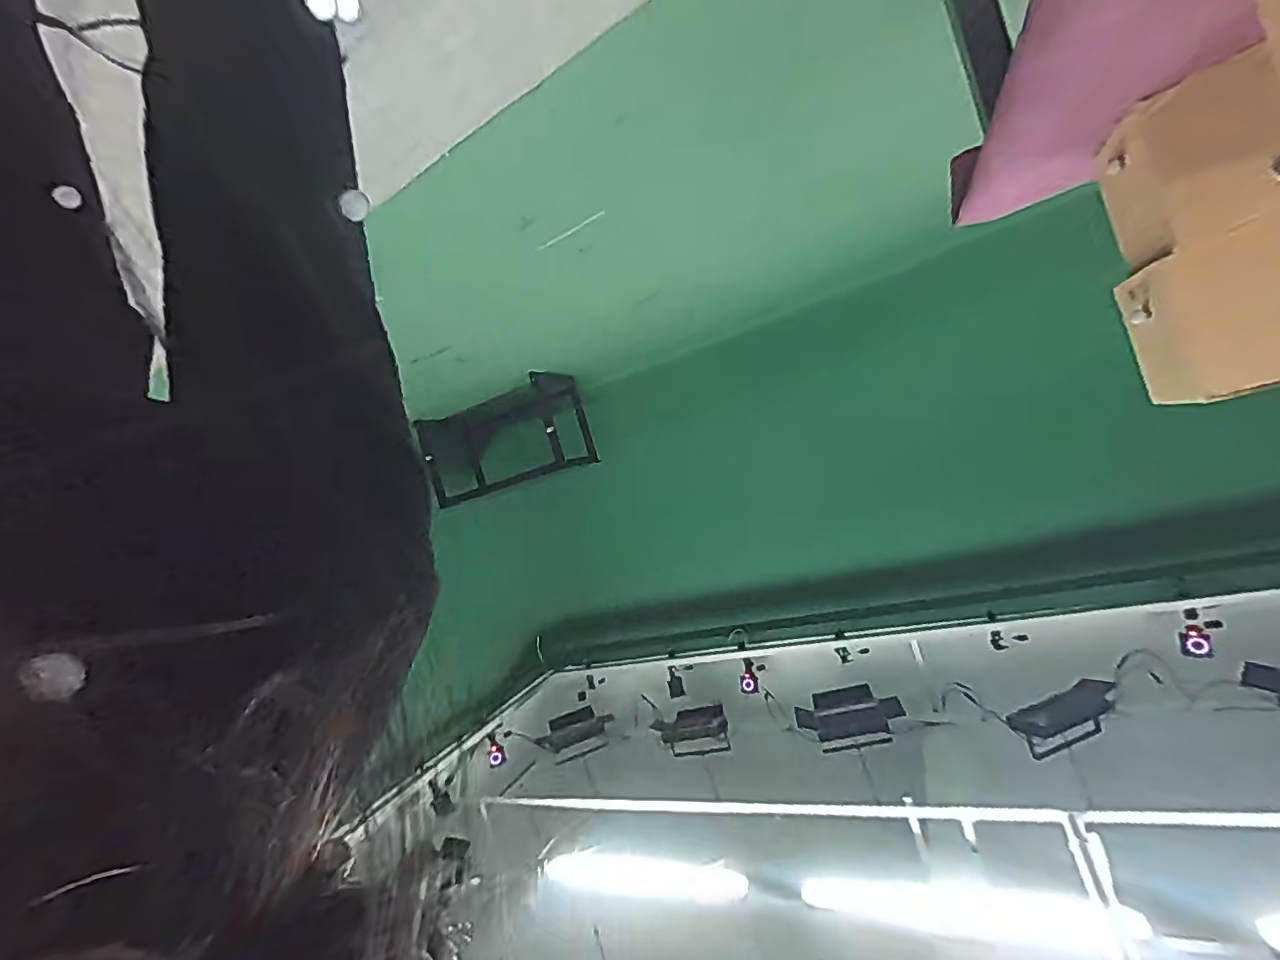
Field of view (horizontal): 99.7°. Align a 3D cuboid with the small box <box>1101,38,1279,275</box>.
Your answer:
[{"bbox_3d":[0.653,-0.351,0.587,0.179,0.176,0.168,-18,178,29],"label":"small box"}]

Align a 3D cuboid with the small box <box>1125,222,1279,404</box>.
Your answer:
[{"bbox_3d":[0.699,-0.193,0.604,0.179,0.176,0.168,-18,178,29],"label":"small box"}]
